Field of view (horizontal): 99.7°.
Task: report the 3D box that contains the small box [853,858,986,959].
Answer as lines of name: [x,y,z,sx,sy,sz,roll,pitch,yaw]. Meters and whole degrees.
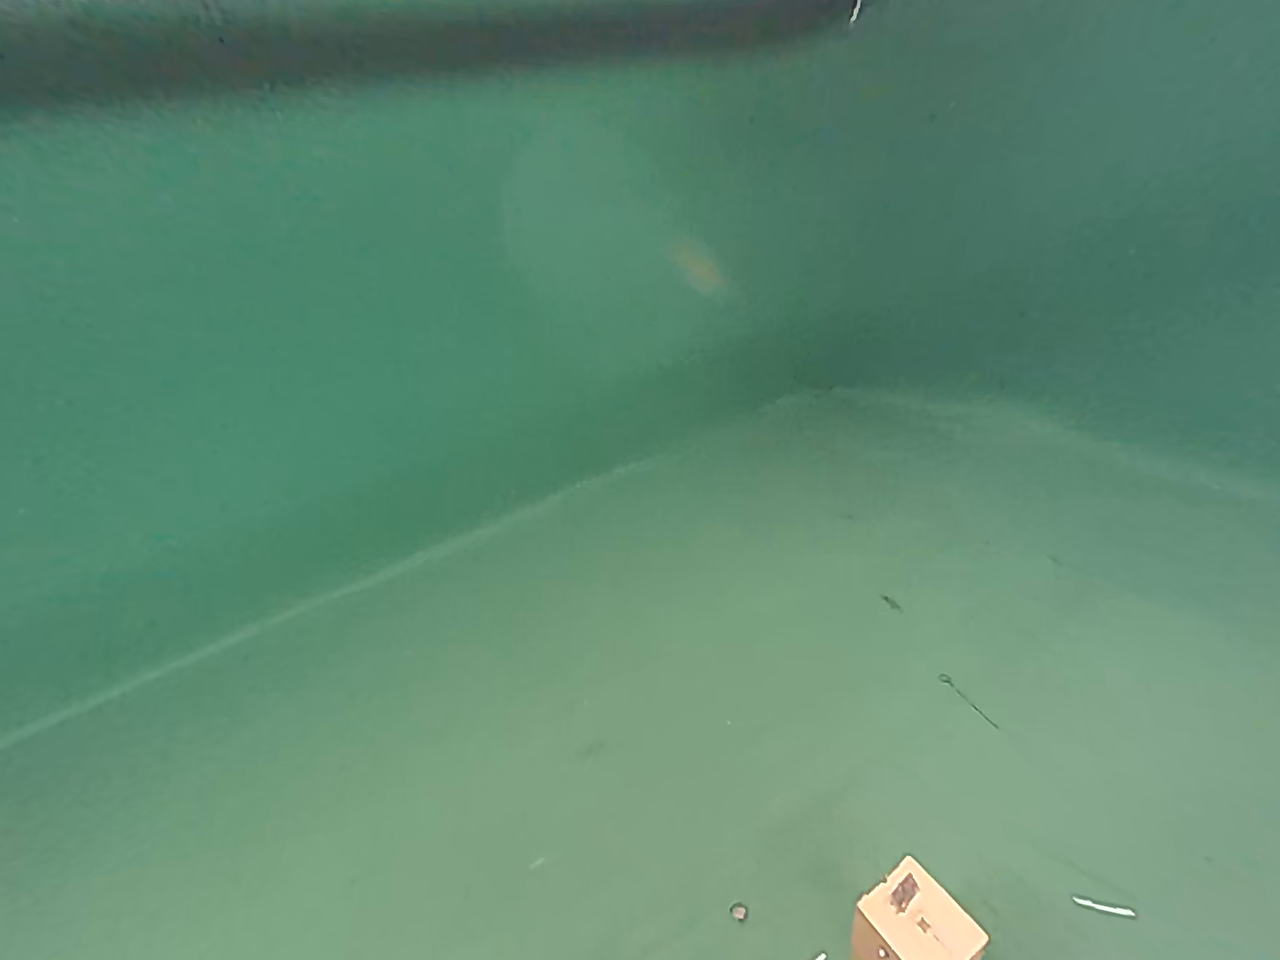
small box: [0.556,0.937,1.099,0.168,0.176,0.179,-23,34,-22]
